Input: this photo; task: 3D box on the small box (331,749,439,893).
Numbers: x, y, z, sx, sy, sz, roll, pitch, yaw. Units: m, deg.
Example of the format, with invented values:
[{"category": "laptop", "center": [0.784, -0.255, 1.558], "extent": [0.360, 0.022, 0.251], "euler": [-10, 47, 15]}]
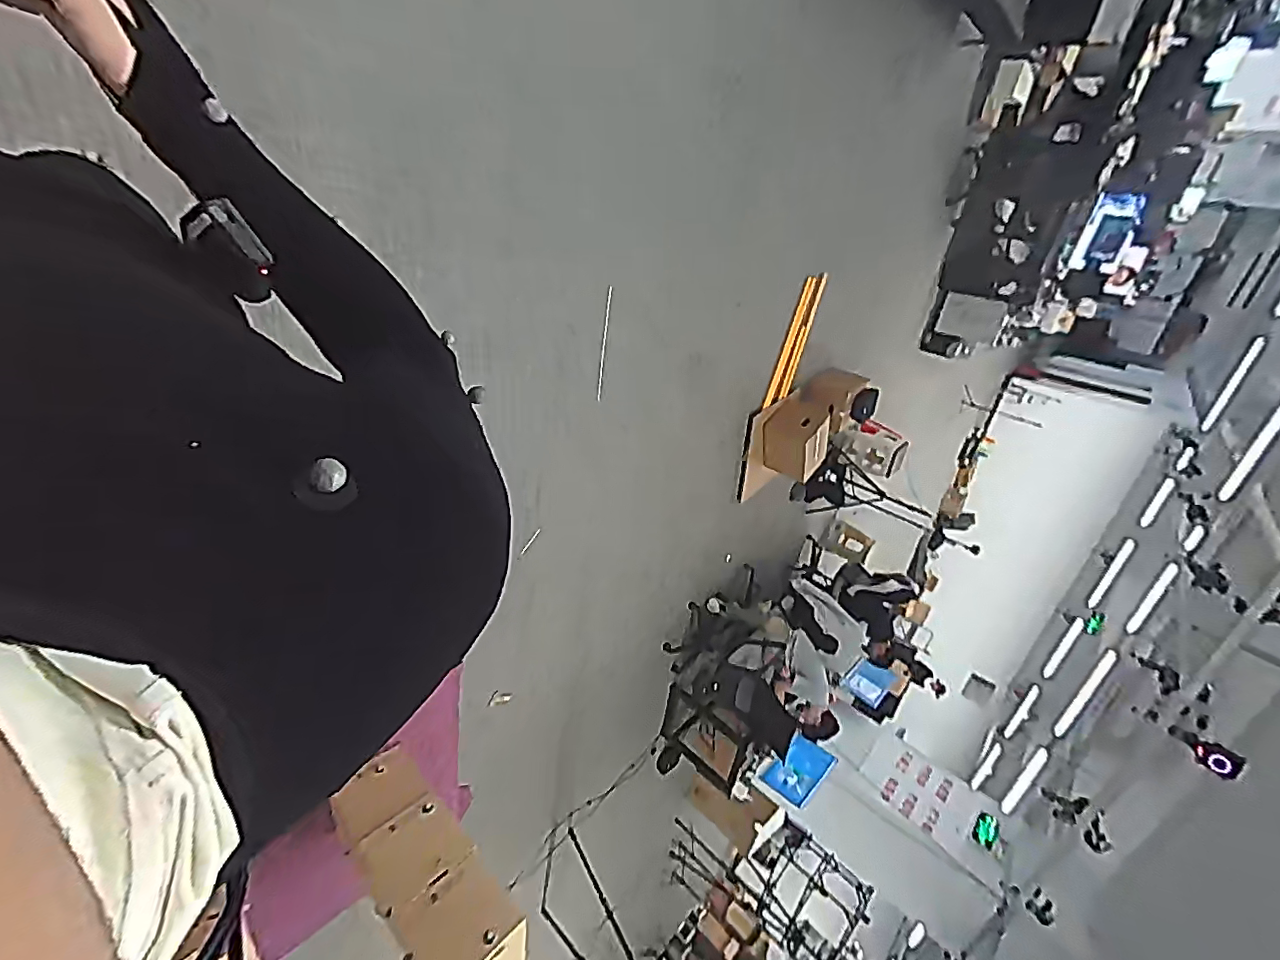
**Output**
[{"category": "small box", "center": [-0.566, 0.753, 1.212], "extent": [0.168, 0.176, 0.179], "euler": [-21, 128, -44]}]

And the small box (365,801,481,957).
[{"category": "small box", "center": [-0.446, 0.809, 1.116], "extent": [0.168, 0.176, 0.179], "euler": [-22, 130, -44]}]

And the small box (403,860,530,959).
[{"category": "small box", "center": [-0.329, 0.880, 1.026], "extent": [0.168, 0.176, 0.179], "euler": [-22, 131, -43]}]
